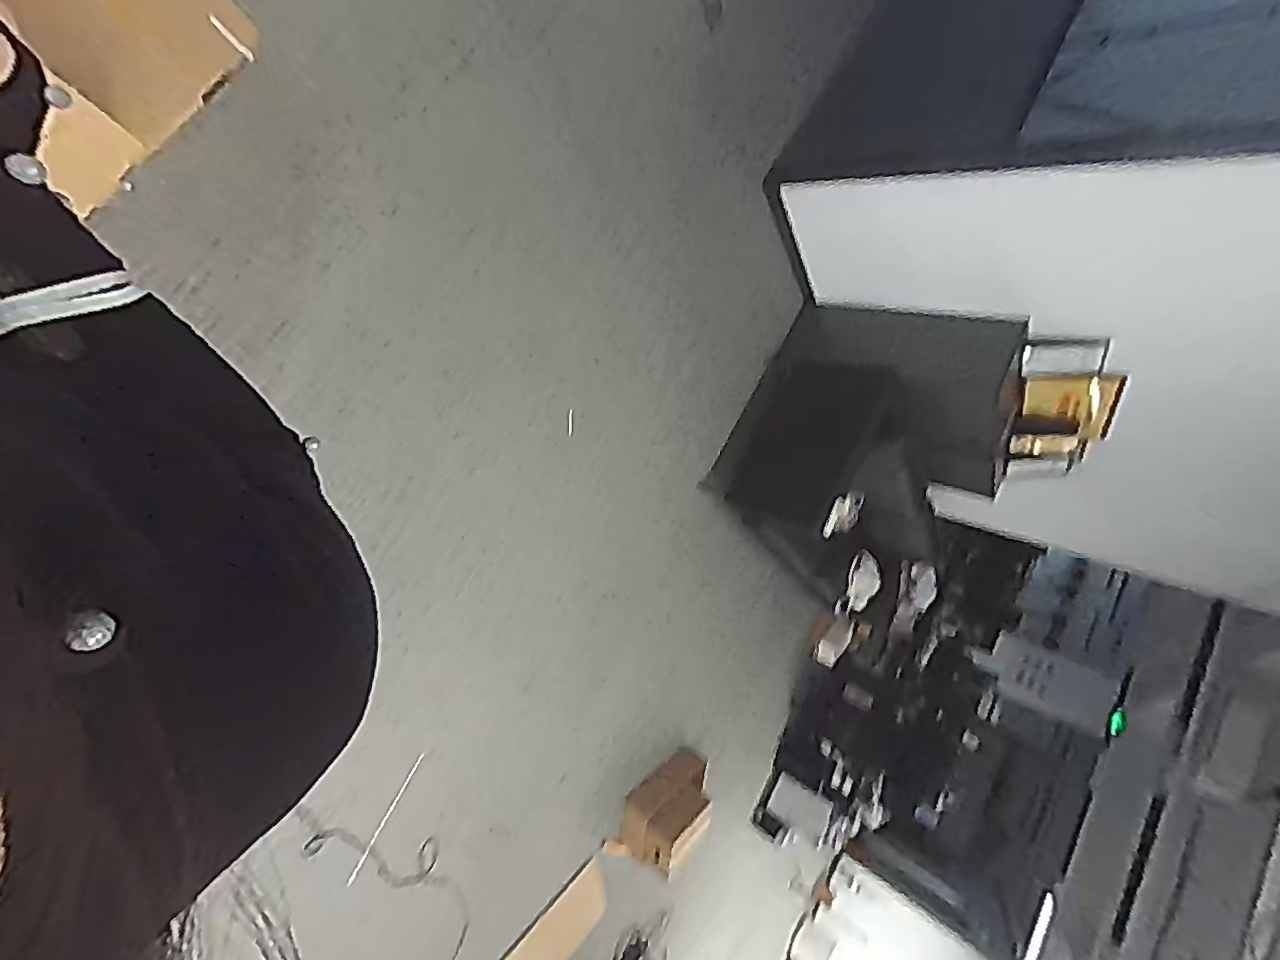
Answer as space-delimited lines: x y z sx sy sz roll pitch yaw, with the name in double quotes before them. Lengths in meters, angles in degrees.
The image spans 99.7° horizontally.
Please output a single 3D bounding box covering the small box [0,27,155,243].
"small box" -0.783 -0.430 0.687 0.179 0.176 0.168 43 71 -50
